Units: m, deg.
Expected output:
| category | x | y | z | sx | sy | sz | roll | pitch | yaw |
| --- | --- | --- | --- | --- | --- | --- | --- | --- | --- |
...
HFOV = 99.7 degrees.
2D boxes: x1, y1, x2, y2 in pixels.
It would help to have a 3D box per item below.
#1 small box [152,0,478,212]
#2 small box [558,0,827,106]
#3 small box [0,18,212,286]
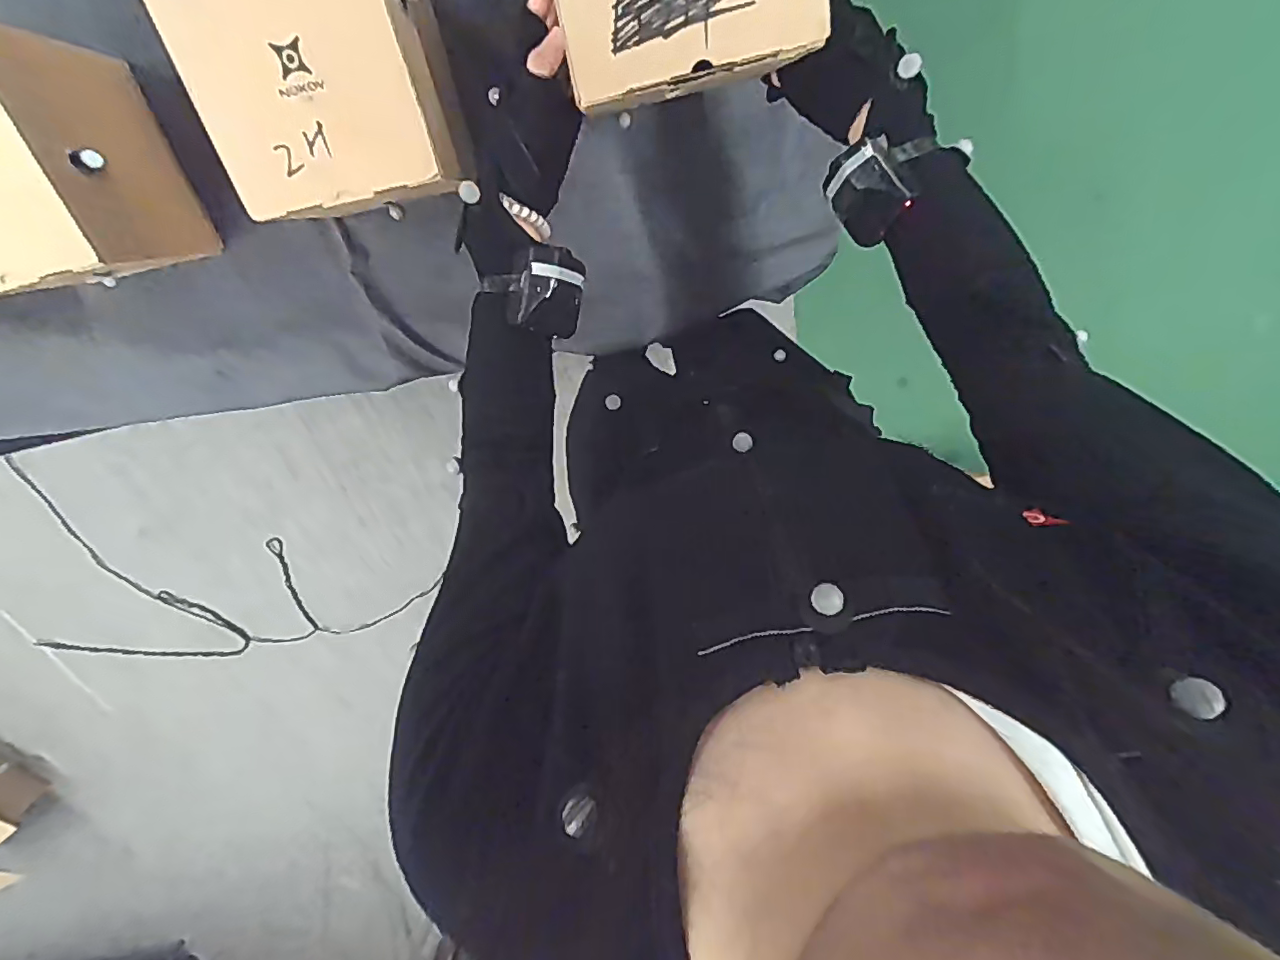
| category | x | y | z | sx | sy | sz | roll | pitch | yaw |
| --- | --- | --- | --- | --- | --- | --- | --- | --- | --- |
| small box | -0.258 | -0.343 | 0.469 | 0.168 | 0.176 | 0.179 | -11 | 118 | 2 |
| small box | 0.020 | -0.377 | 0.373 | 0.168 | 0.176 | 0.179 | -12 | 121 | 3 |
| small box | -0.549 | -0.280 | 0.482 | 0.168 | 0.176 | 0.179 | -12 | 119 | 1 |
